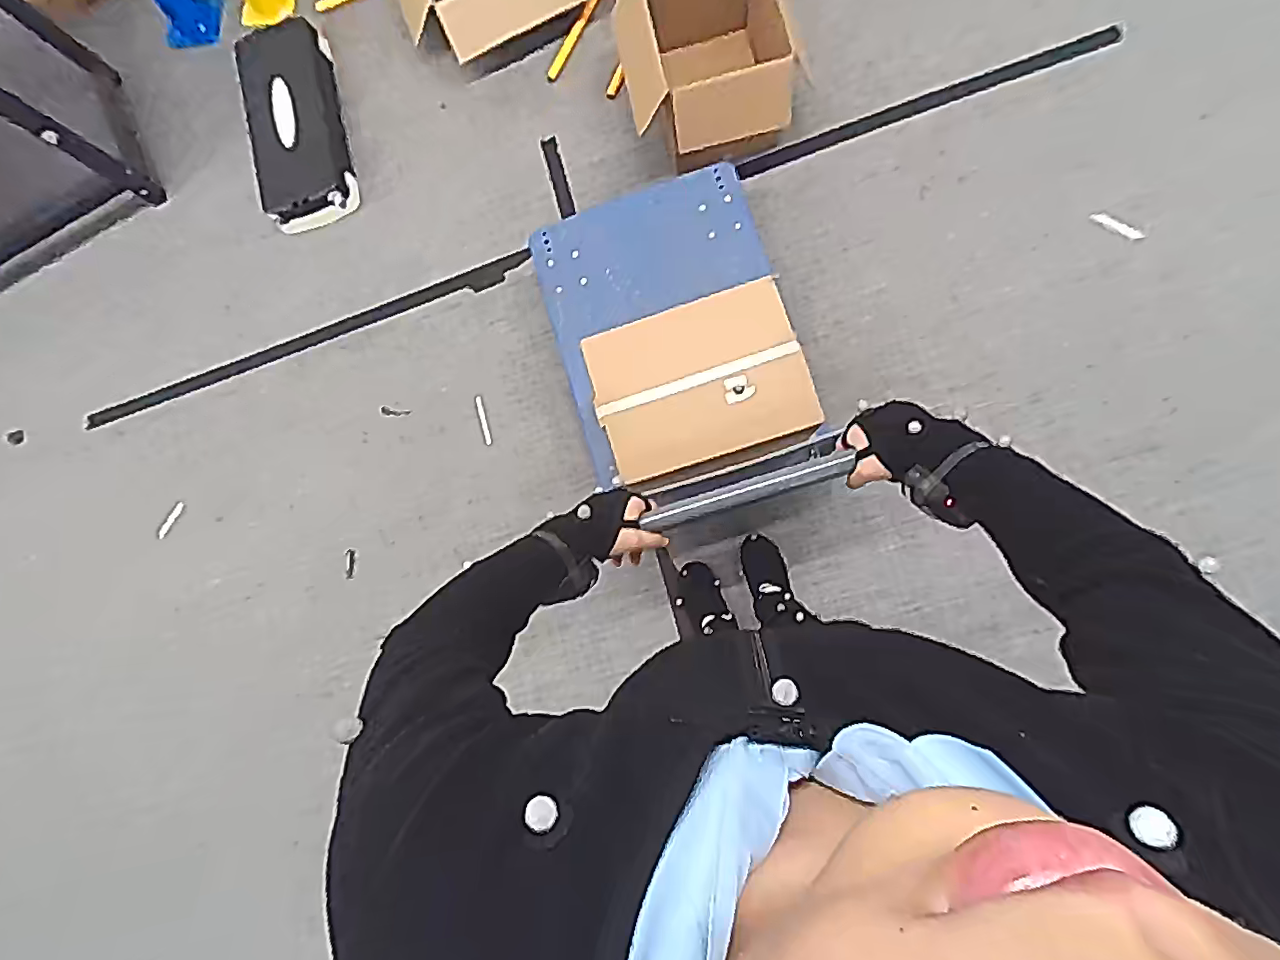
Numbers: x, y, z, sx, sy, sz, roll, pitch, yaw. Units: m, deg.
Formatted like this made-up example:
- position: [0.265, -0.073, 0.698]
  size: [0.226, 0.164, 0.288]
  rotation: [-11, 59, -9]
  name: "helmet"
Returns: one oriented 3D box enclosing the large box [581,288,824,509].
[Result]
- position: [0.128, -0.151, 1.189]
  size: [0.408, 0.320, 0.320]
  rotation: [-18, 82, 4]
  name: "large box"
